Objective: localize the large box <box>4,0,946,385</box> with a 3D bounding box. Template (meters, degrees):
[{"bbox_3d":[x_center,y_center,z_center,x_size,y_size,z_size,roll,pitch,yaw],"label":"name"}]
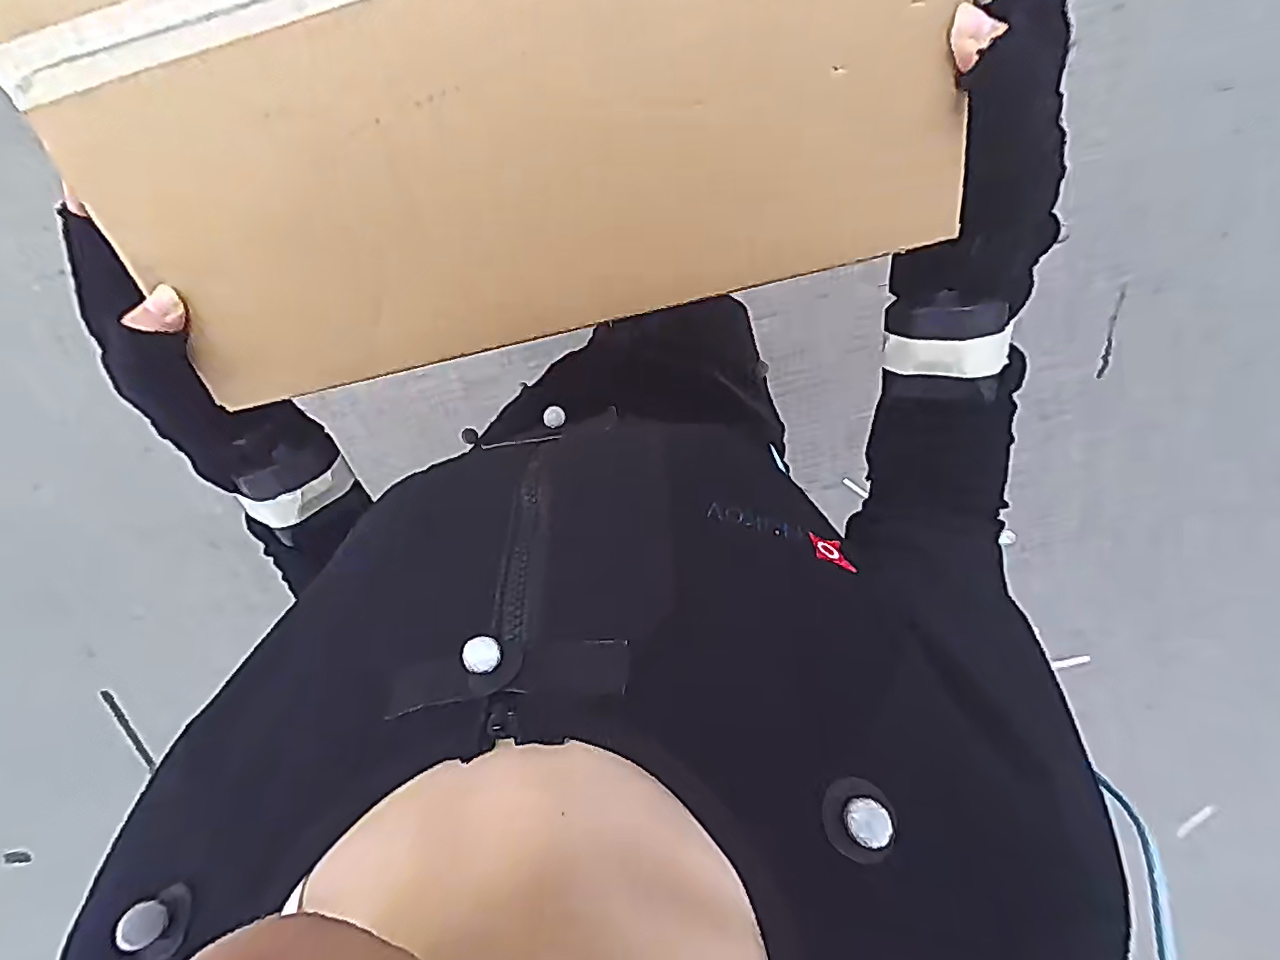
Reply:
[{"bbox_3d":[-0.078,-0.297,0.353,0.408,0.320,0.320,-12,120,6],"label":"large box"}]
